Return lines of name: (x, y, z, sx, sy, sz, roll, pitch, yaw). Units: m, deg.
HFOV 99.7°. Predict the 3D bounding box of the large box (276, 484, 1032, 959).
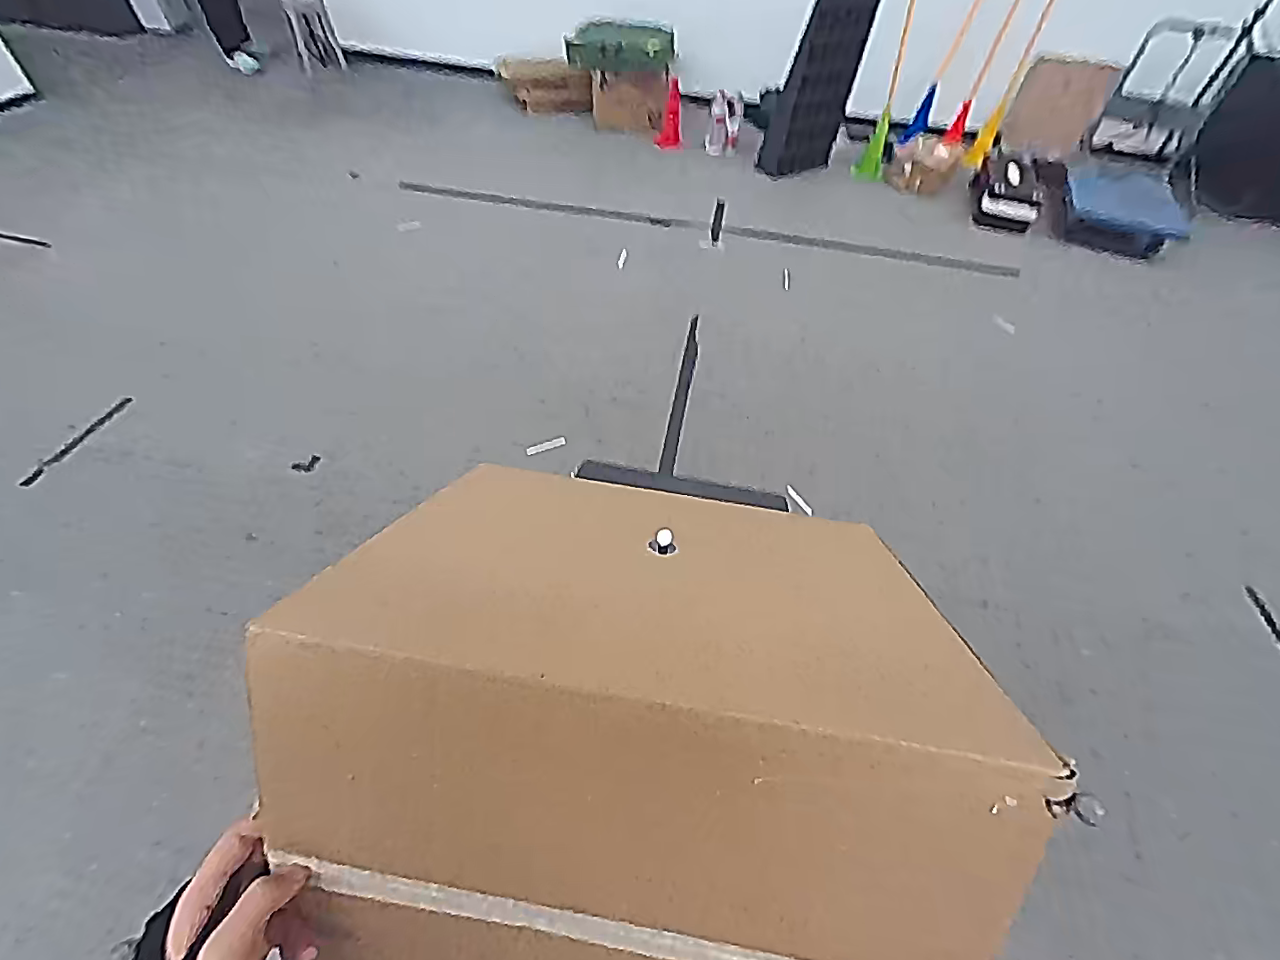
large box: (-0.005, 0.211, 0.463, 0.408, 0.320, 0.320, 9, 18, 4)
